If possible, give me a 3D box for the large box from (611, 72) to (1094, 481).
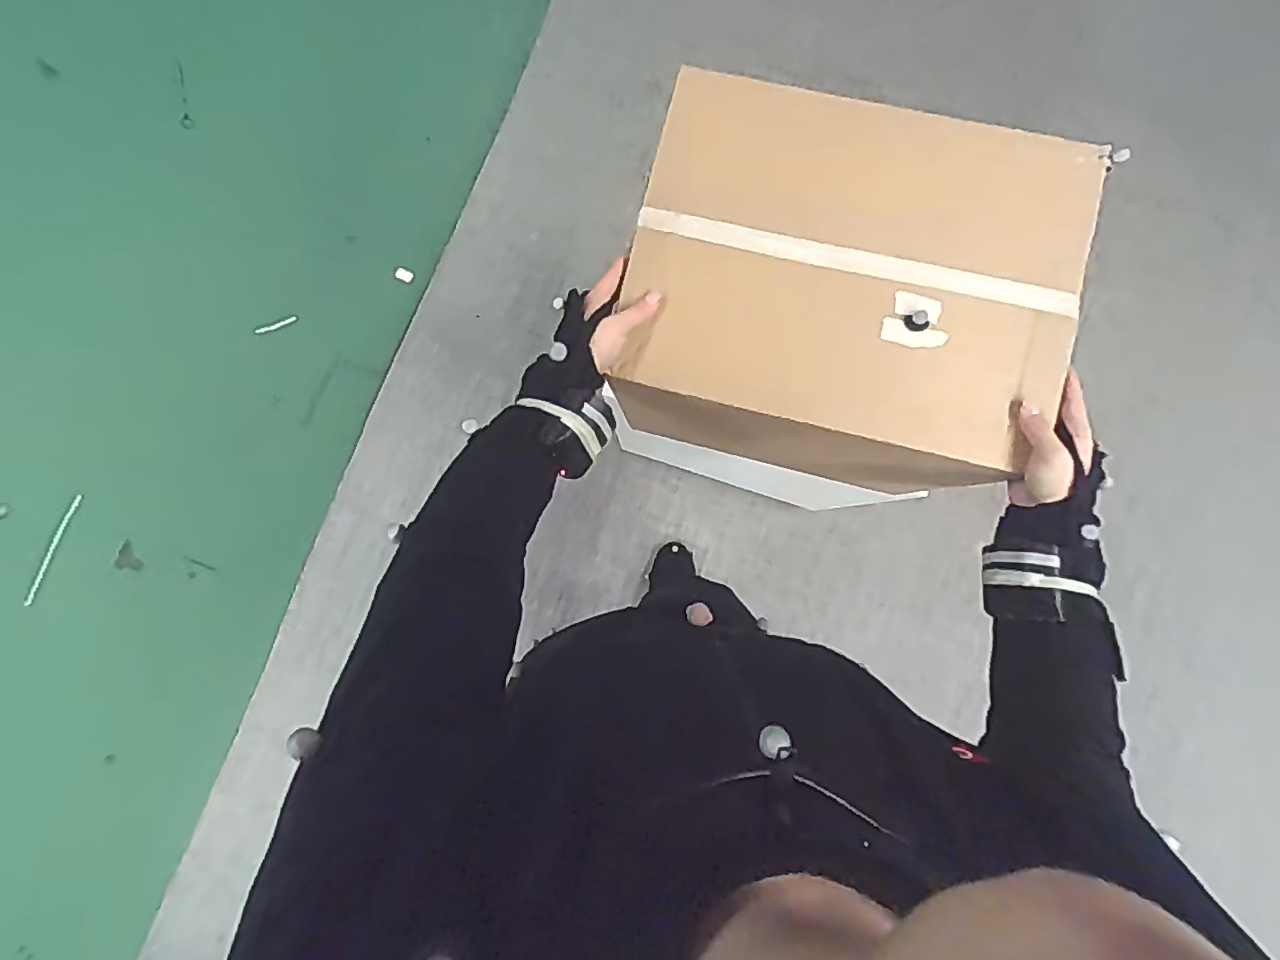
[{"bbox_3d":[0.202,-0.198,0.651,0.408,0.320,0.320,13,87,4],"label":"large box"}]
